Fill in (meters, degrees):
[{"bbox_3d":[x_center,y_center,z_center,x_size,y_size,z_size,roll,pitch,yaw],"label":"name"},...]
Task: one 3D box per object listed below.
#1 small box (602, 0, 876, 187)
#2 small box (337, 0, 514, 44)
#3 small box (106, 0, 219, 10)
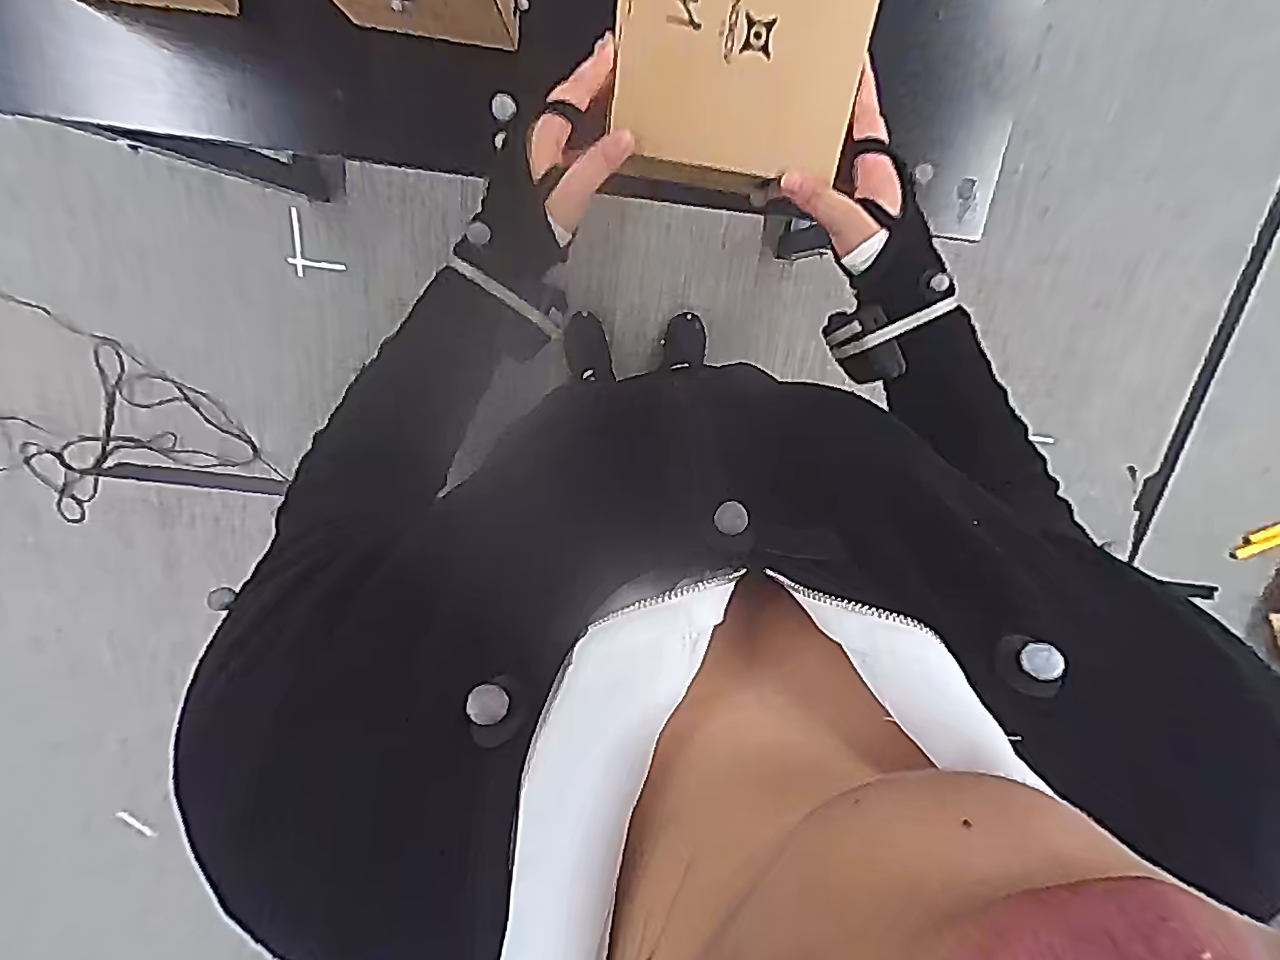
[{"bbox_3d":[0.065,-0.344,0.439,0.179,0.176,0.168,6,115,-7],"label":"small box"},{"bbox_3d":[-0.209,-0.535,0.490,0.179,0.176,0.168,6,108,-4],"label":"small box"},{"bbox_3d":[-0.503,-0.554,0.472,0.179,0.176,0.168,3,108,-3],"label":"small box"}]
